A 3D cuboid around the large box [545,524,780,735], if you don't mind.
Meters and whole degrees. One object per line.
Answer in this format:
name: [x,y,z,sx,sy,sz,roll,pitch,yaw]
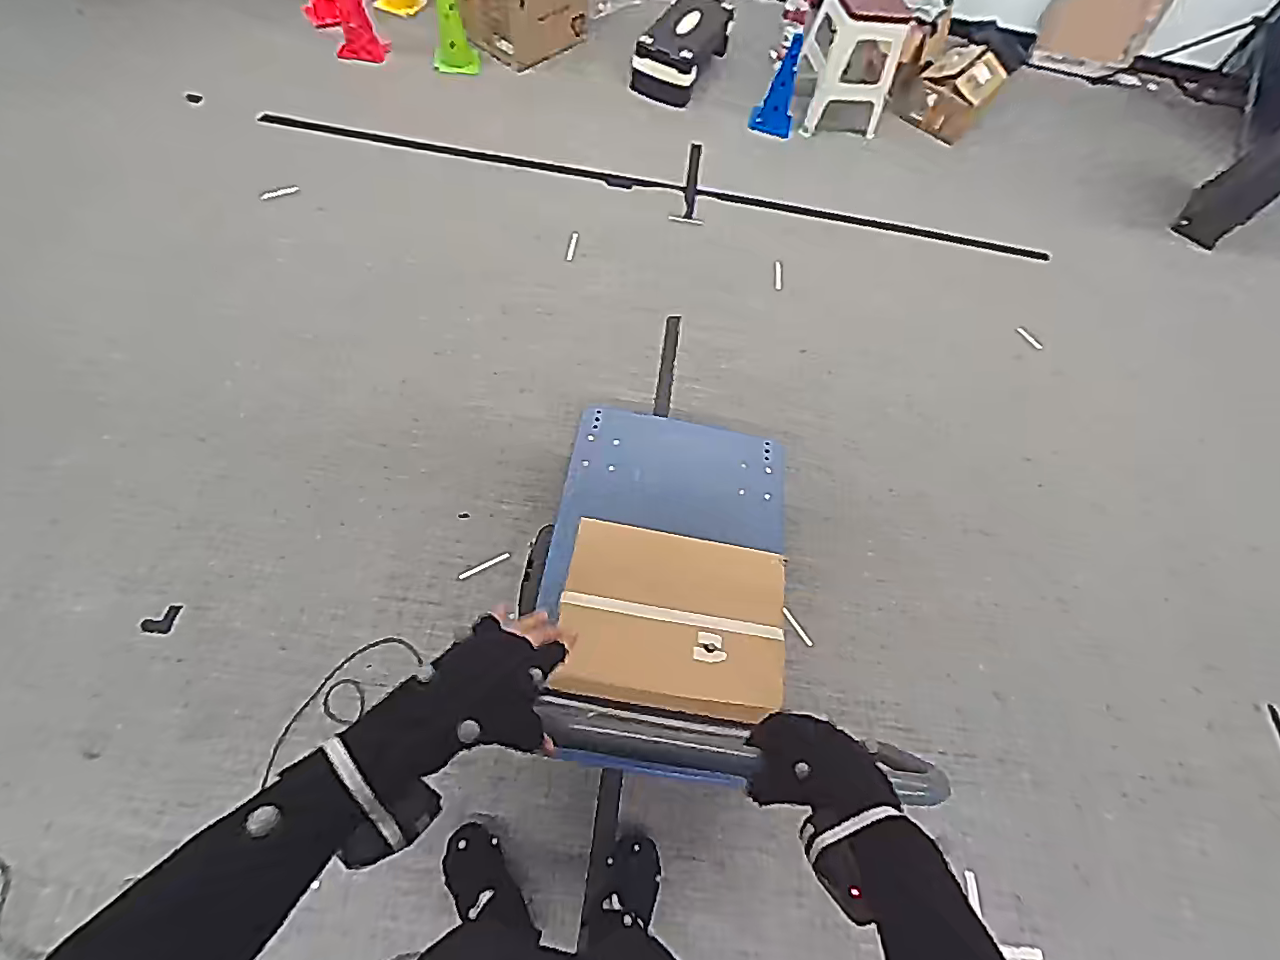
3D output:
large box: [0.035,0.317,1.094,0.408,0.320,0.320,11,63,-3]
